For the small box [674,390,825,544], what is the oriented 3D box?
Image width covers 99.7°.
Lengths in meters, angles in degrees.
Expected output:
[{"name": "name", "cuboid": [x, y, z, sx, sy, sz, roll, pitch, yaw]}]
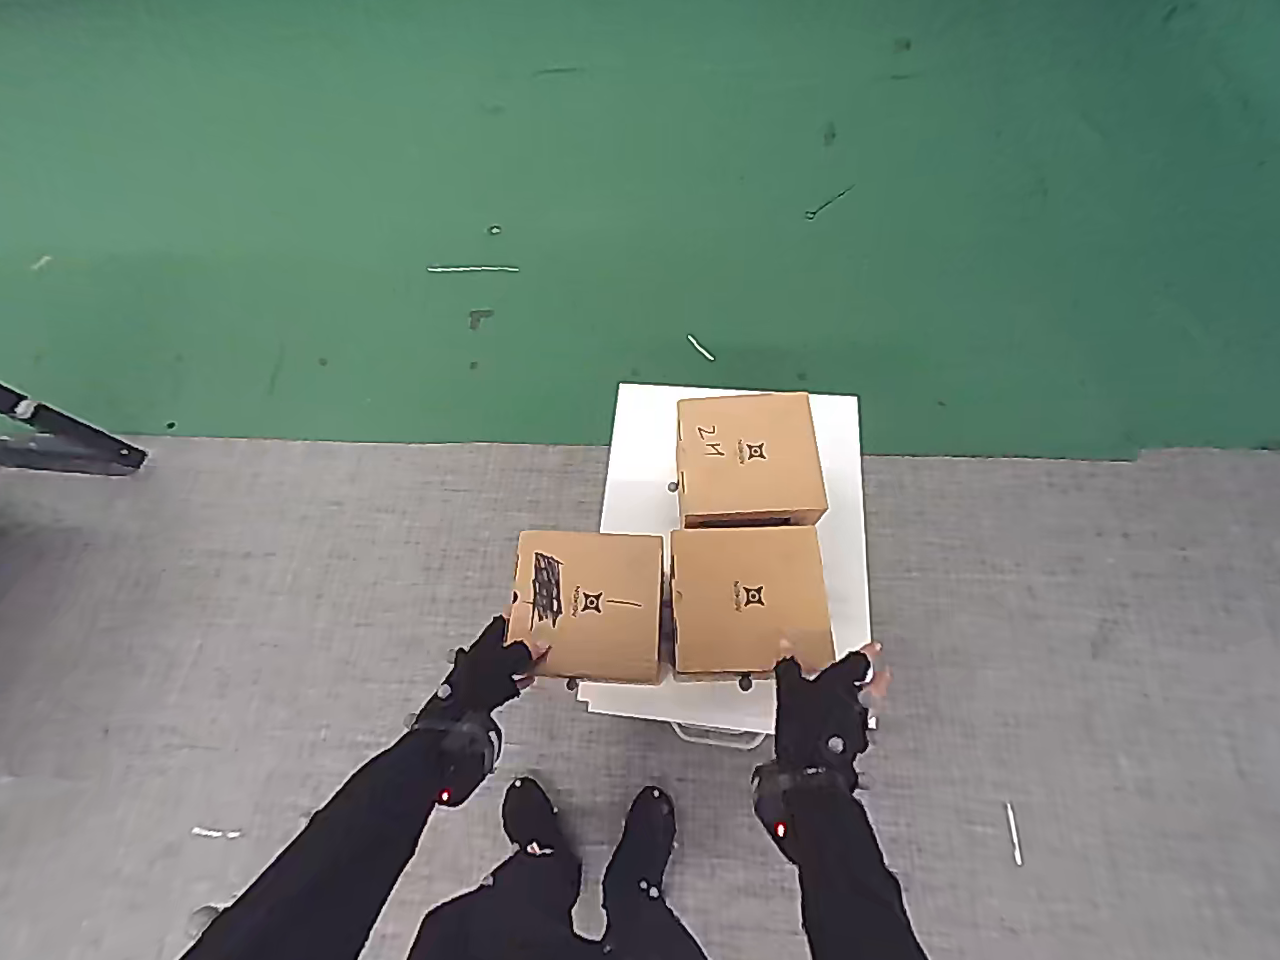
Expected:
[{"name": "small box", "cuboid": [0.139, -0.011, 0.759, 0.179, 0.176, 0.168, -3, 68, 2]}]
